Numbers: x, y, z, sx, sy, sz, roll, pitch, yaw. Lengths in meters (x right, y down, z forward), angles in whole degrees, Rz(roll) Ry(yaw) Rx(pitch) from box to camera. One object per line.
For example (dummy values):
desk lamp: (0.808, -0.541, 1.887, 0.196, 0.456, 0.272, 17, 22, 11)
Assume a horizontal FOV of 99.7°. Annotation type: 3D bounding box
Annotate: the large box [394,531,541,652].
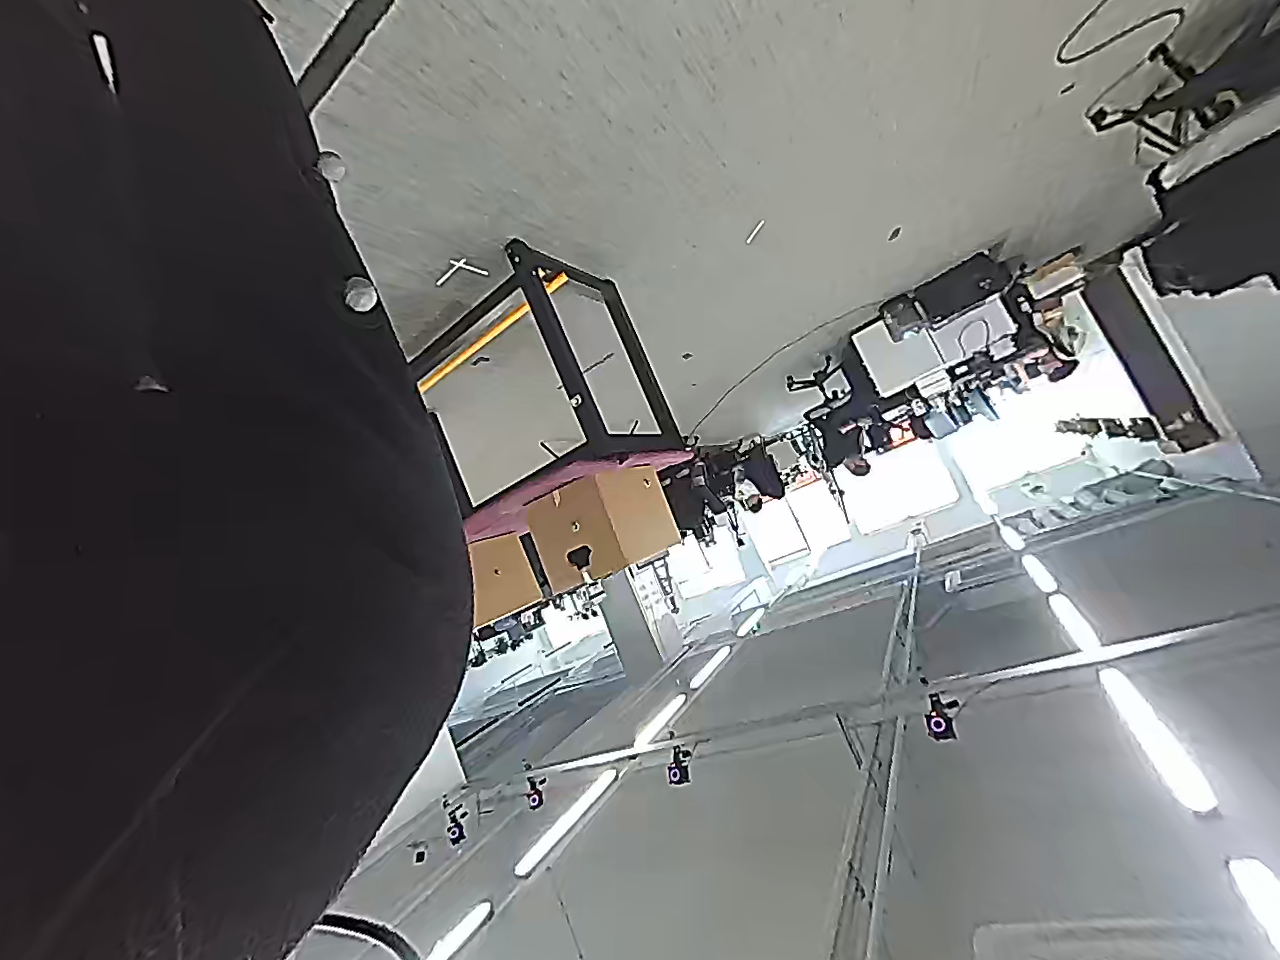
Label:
large box: (-0.681, 0.432, 2.162, 0.320, 0.320, 0.408, -26, 174, 27)
